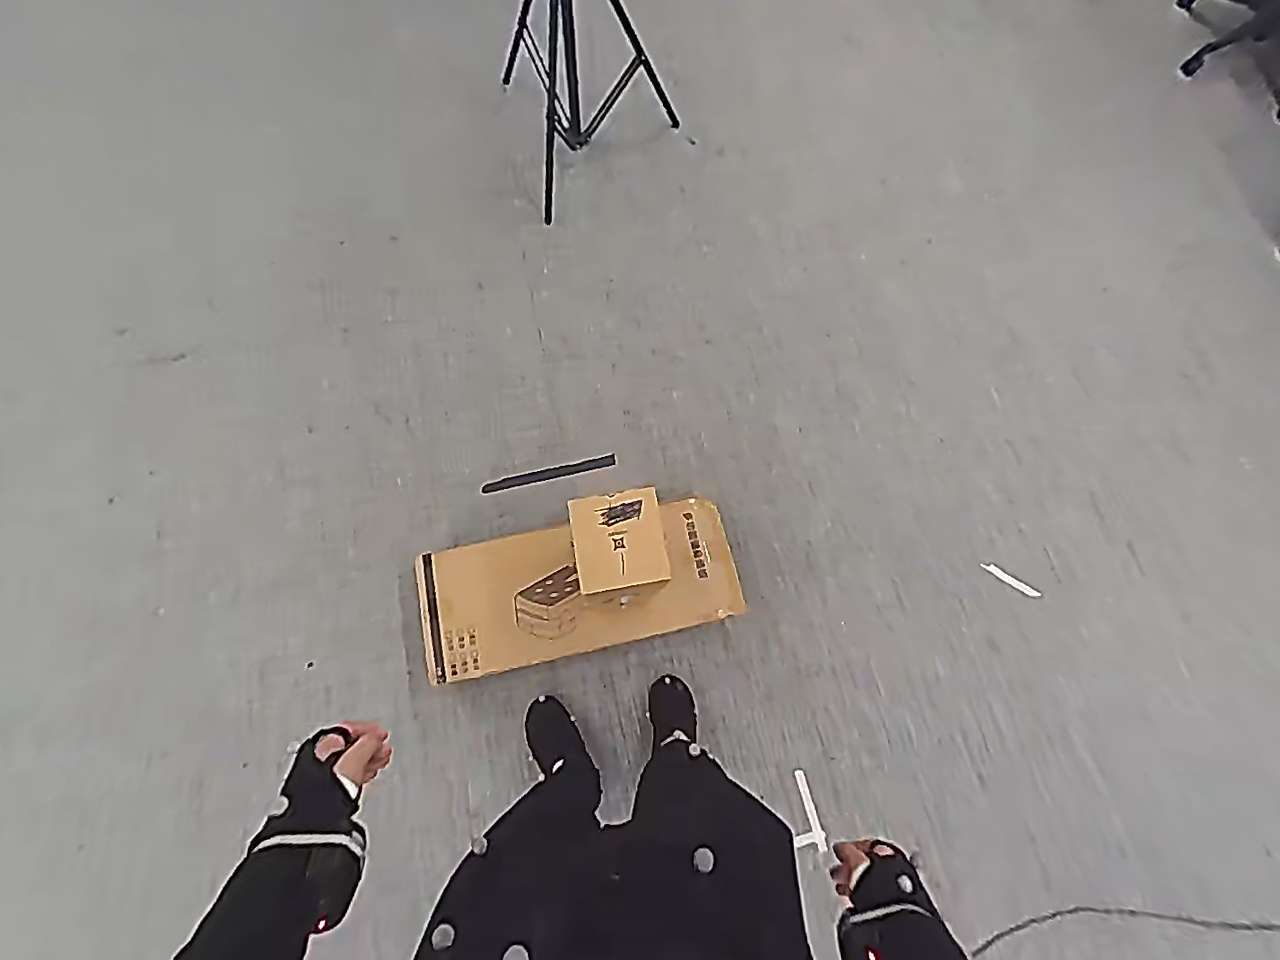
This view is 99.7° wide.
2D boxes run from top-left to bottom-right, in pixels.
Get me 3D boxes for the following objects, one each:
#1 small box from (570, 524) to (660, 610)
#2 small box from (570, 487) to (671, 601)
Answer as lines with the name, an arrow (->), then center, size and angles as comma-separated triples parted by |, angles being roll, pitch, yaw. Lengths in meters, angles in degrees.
small box -> -0.058, 0.182, 1.212 | 0.168, 0.176, 0.179 | -13, 74, -6
small box -> -0.042, 0.130, 1.057 | 0.168, 0.176, 0.179 | -9, 74, -5
